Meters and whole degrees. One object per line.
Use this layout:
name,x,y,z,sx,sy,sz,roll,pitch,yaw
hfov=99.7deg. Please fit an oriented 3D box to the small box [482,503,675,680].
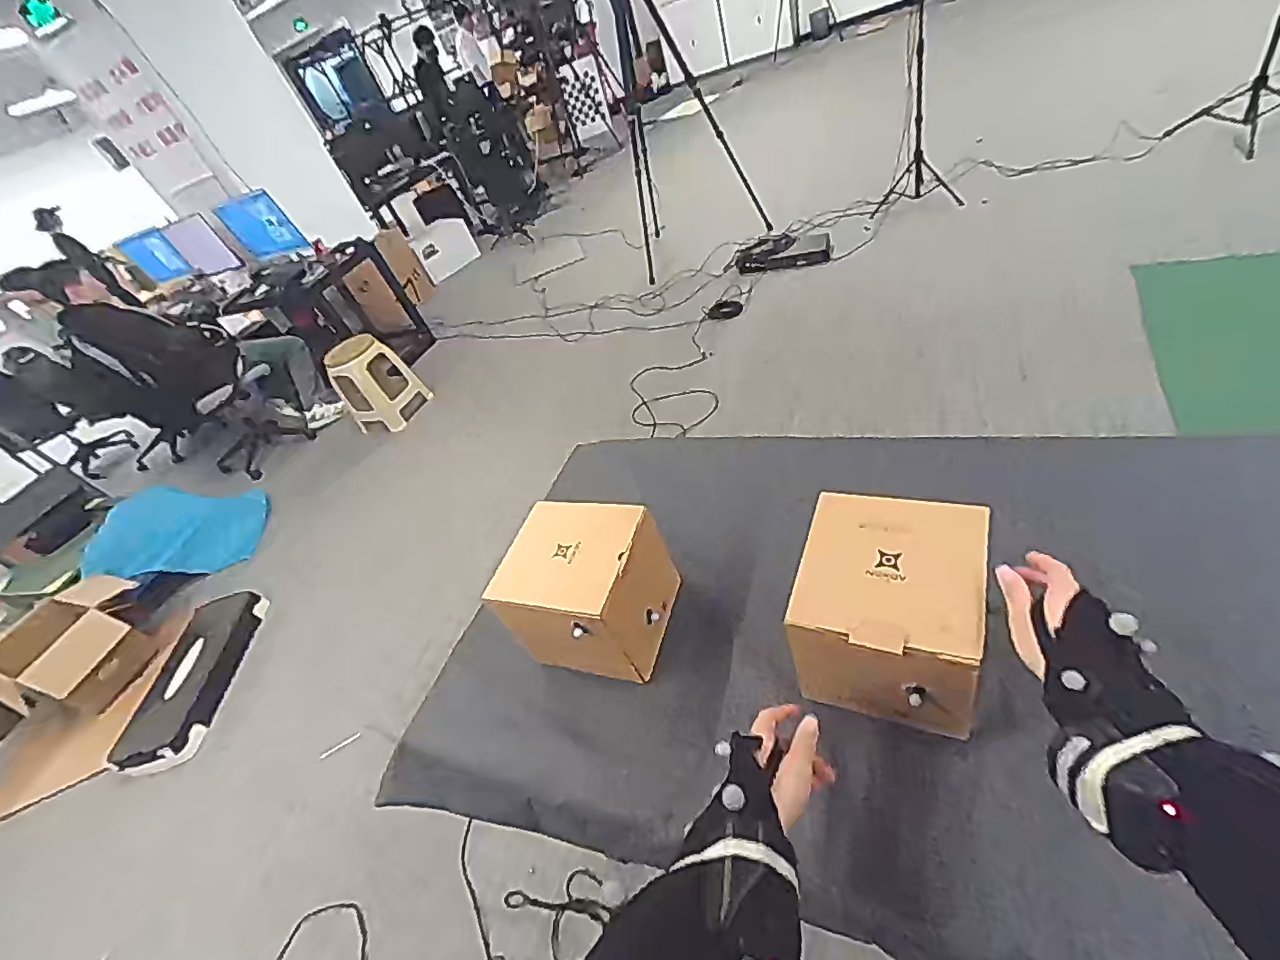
small box,-0.071,0.149,0.733,0.179,0.176,0.168,1,46,25

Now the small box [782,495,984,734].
small box,0.264,0.142,0.582,0.168,0.176,0.179,6,48,29
